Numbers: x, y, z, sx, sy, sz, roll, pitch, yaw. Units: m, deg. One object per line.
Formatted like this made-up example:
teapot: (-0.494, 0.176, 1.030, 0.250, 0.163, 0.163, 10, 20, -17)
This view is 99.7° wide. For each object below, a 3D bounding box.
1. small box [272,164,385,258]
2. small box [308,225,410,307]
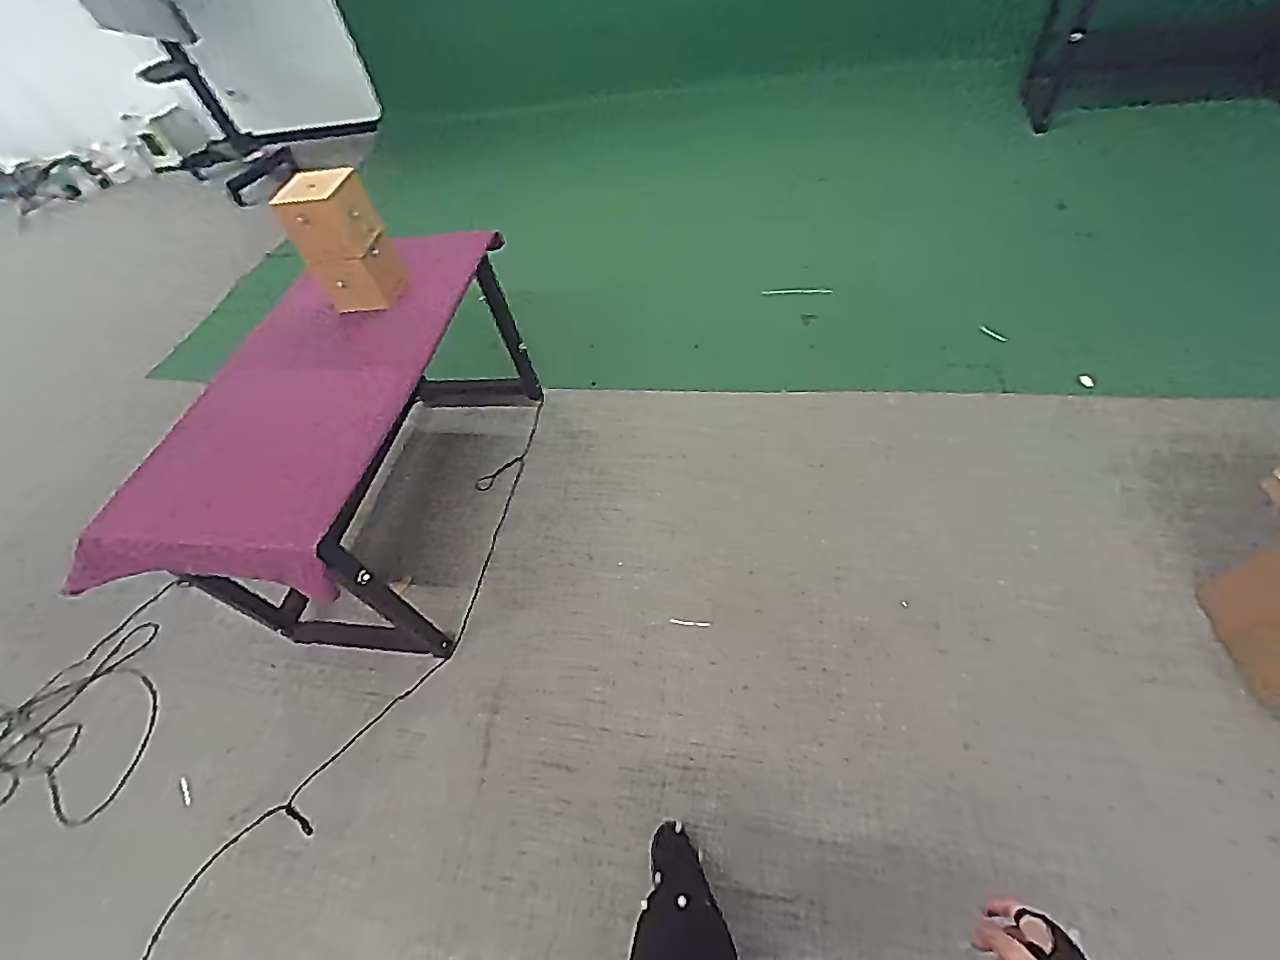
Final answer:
small box: (-0.834, -0.726, 1.468, 0.179, 0.176, 0.168, 0, 54, 11)
small box: (-0.821, -0.629, 1.599, 0.179, 0.176, 0.168, -1, 54, 10)
